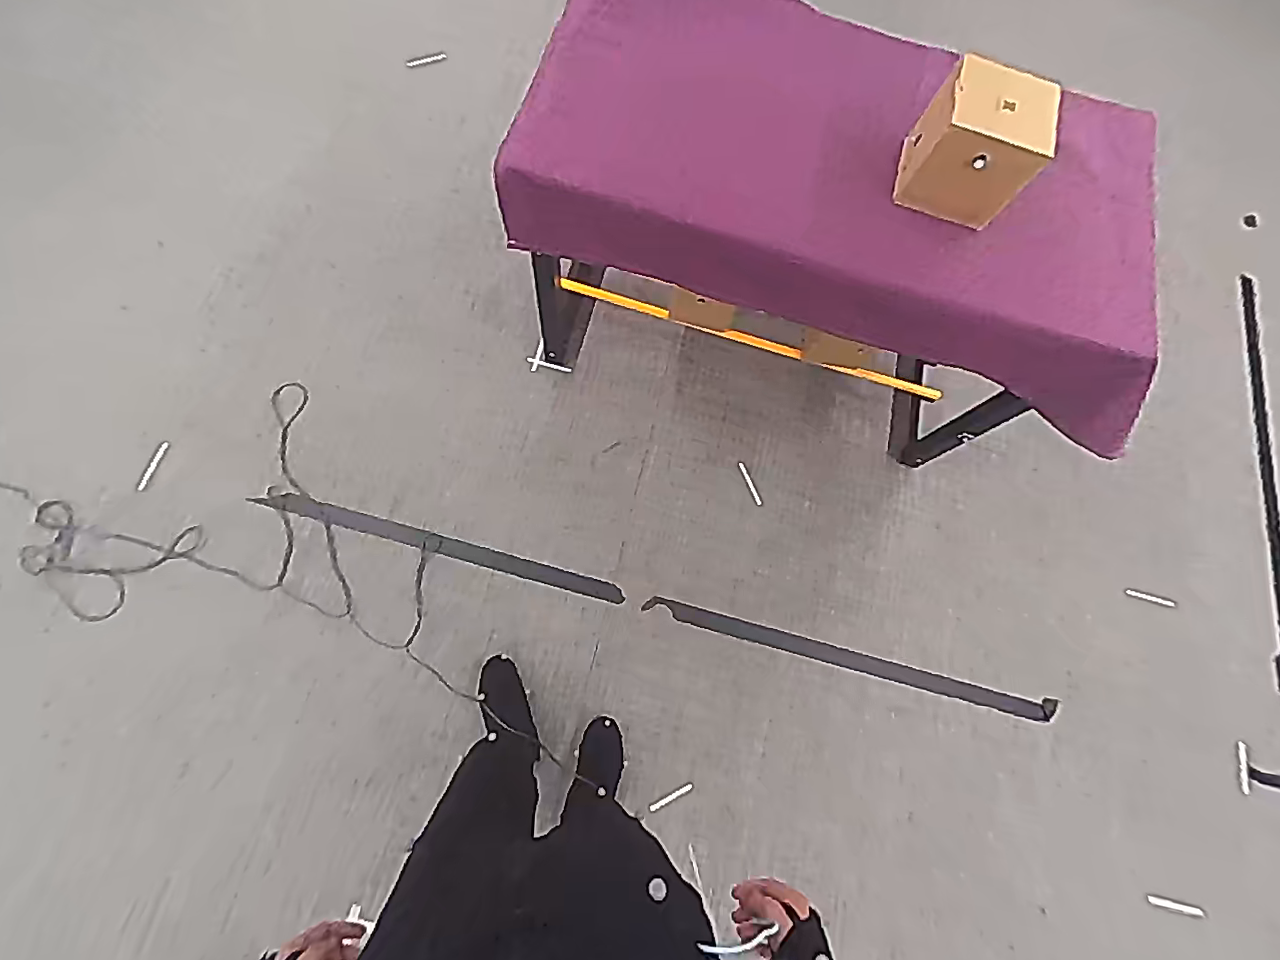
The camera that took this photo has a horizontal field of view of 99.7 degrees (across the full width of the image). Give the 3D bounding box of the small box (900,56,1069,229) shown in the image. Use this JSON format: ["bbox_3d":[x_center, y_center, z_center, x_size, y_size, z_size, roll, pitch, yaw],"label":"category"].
[{"bbox_3d":[0.592,-0.575,0.943,0.179,0.176,0.168,18,73,0],"label":"small box"}]

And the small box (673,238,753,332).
[{"bbox_3d":[0.200,-0.546,1.534,0.179,0.176,0.168,14,73,-4],"label":"small box"}]
